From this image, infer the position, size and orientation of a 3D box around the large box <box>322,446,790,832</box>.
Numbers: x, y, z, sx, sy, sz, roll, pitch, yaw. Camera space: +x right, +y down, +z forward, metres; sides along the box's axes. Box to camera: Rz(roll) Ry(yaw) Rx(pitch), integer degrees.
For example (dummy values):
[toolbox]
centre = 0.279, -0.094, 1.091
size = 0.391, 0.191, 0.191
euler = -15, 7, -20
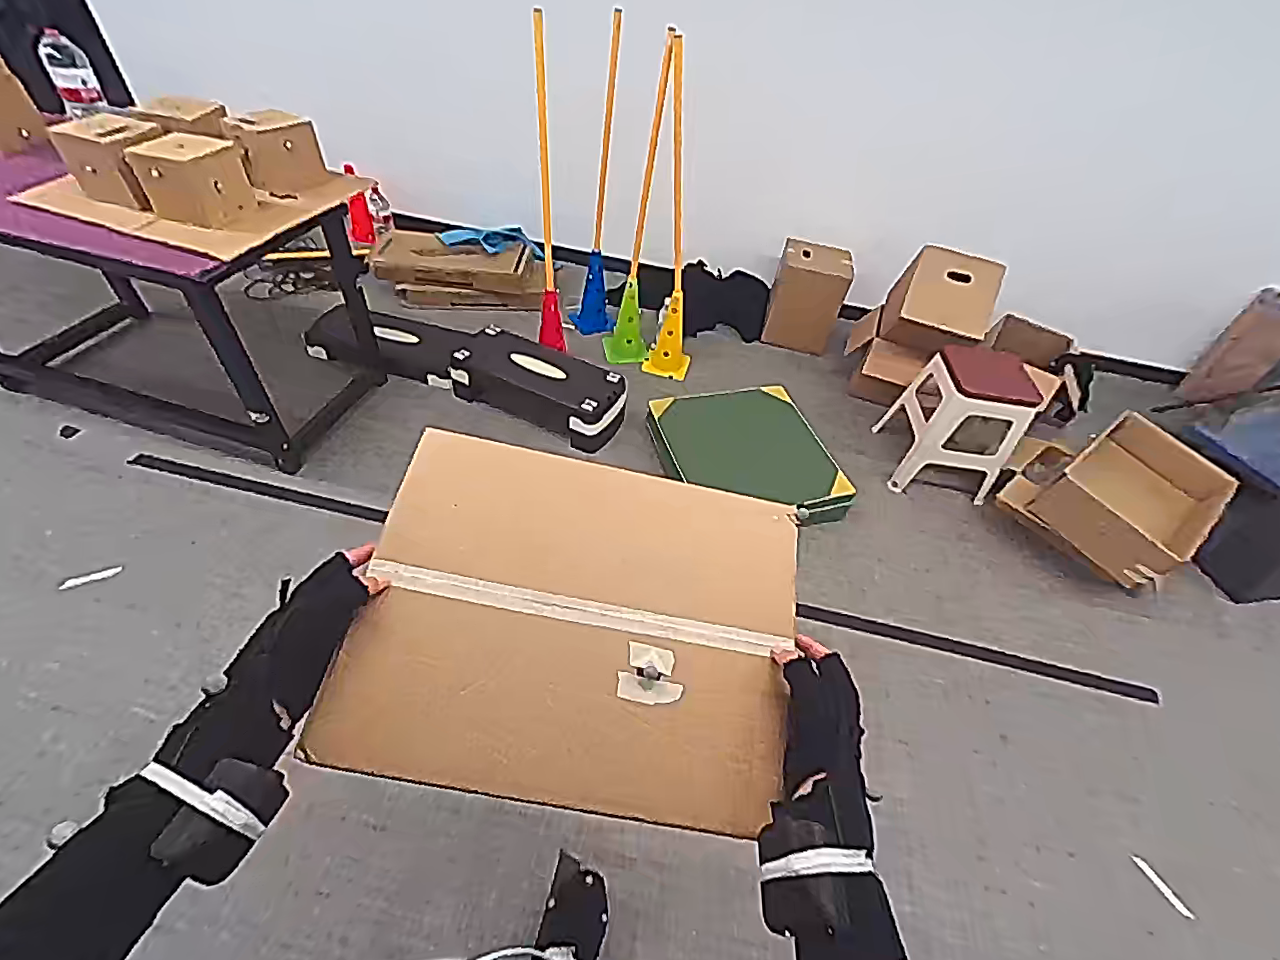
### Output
[large box]
centre = -0.072, 0.200, 0.653
size = 0.408, 0.320, 0.320
euler = 13, 63, -4
